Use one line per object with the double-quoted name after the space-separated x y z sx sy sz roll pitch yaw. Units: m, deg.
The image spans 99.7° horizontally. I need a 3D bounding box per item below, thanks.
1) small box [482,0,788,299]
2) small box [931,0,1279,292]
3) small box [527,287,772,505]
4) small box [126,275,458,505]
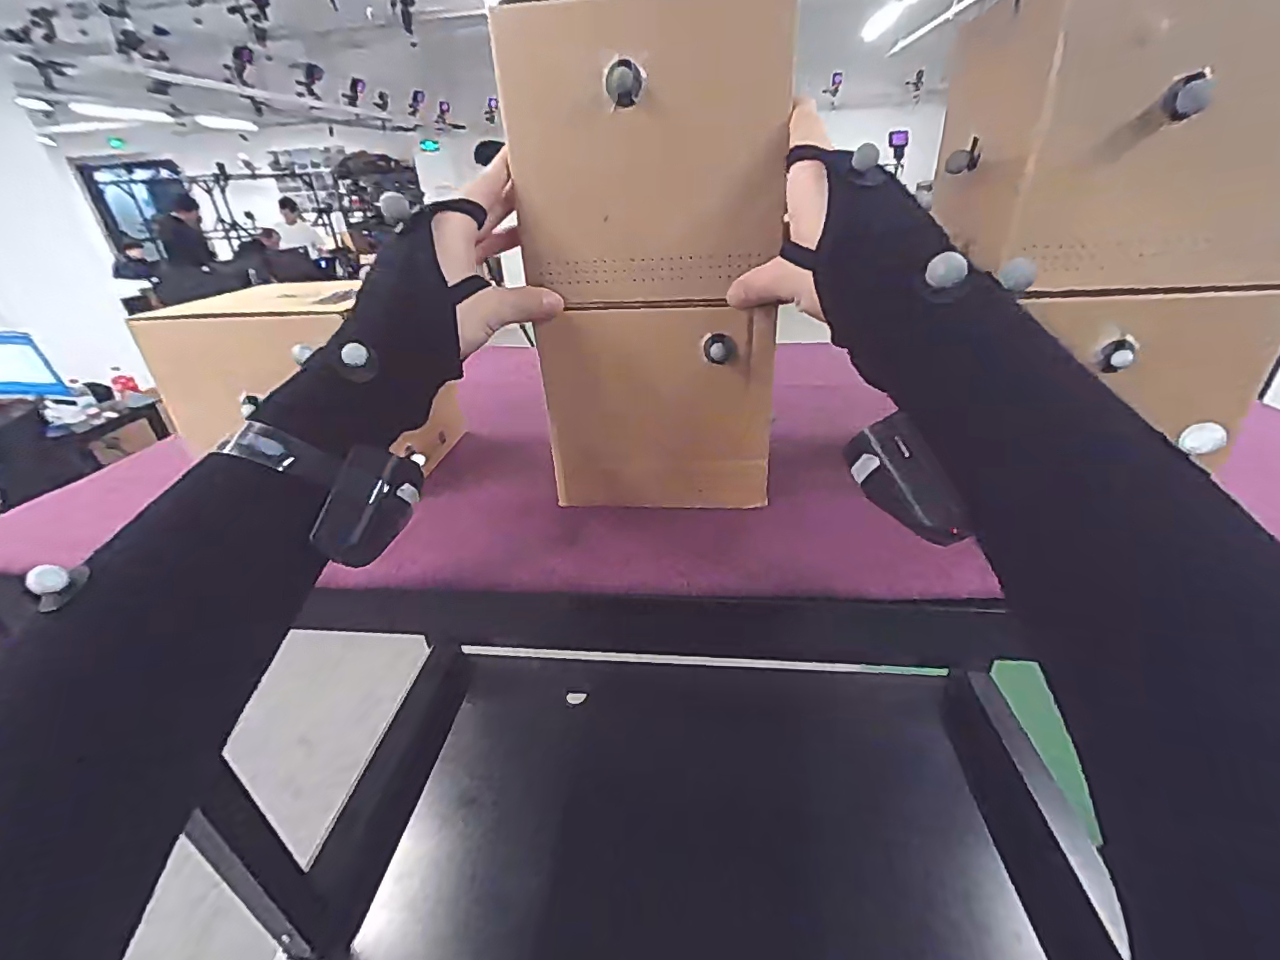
0.008 -0.233 0.402 0.179 0.176 0.168 0 30 6 "small box"
0.312 -0.227 0.359 0.179 0.176 0.168 0 30 10 "small box"
0.016 -0.088 0.480 0.179 0.176 0.168 0 30 6 "small box"
-0.292 -0.087 0.506 0.179 0.176 0.168 -2 29 5 "small box"
